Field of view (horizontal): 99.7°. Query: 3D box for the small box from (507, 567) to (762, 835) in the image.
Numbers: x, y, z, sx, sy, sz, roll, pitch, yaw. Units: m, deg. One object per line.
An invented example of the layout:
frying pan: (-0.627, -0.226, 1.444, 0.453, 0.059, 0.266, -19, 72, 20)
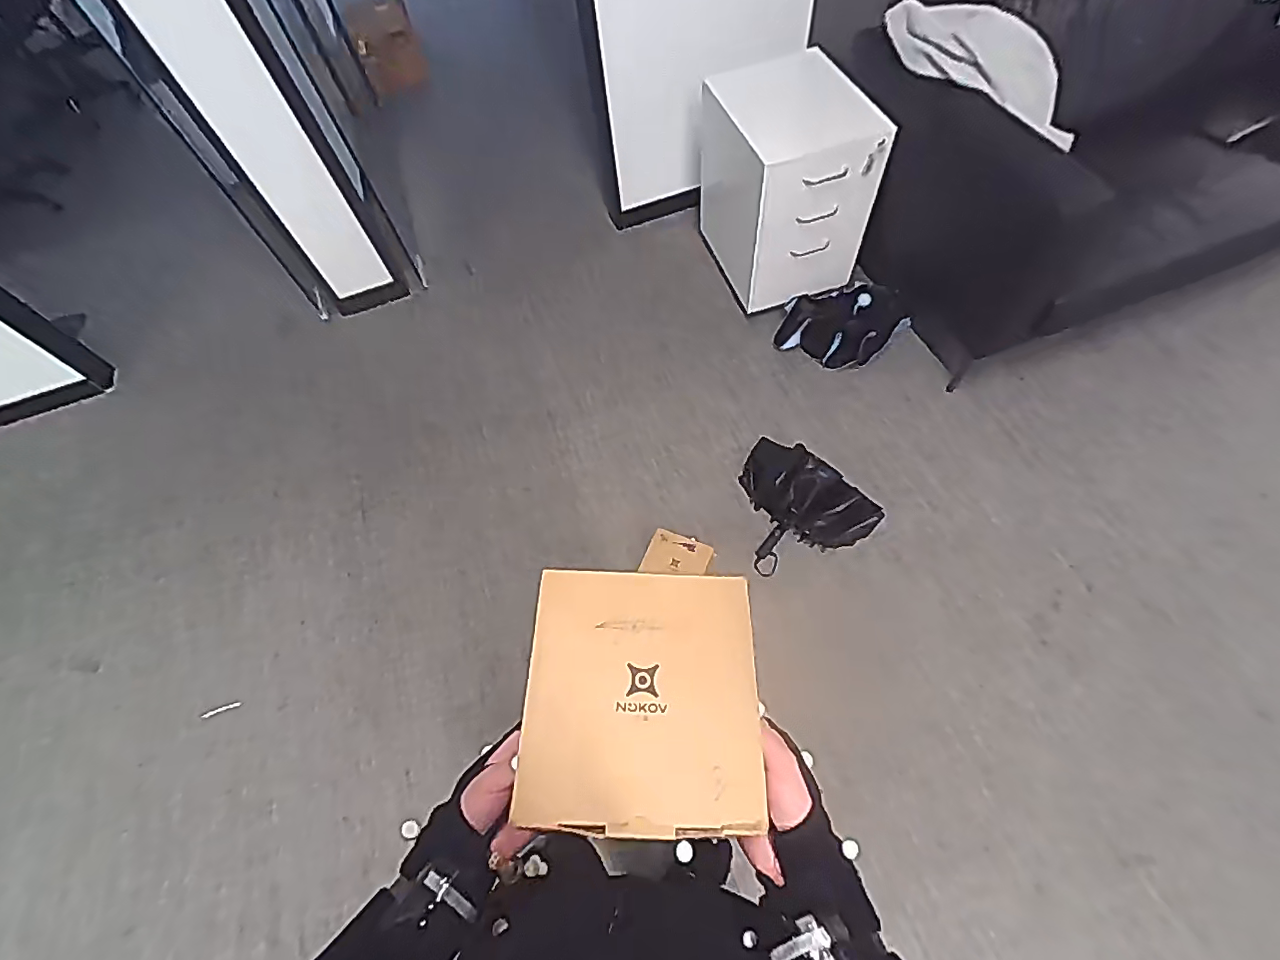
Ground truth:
small box: (-0.005, 0.189, 0.451, 0.168, 0.176, 0.179, 3, 56, -3)
